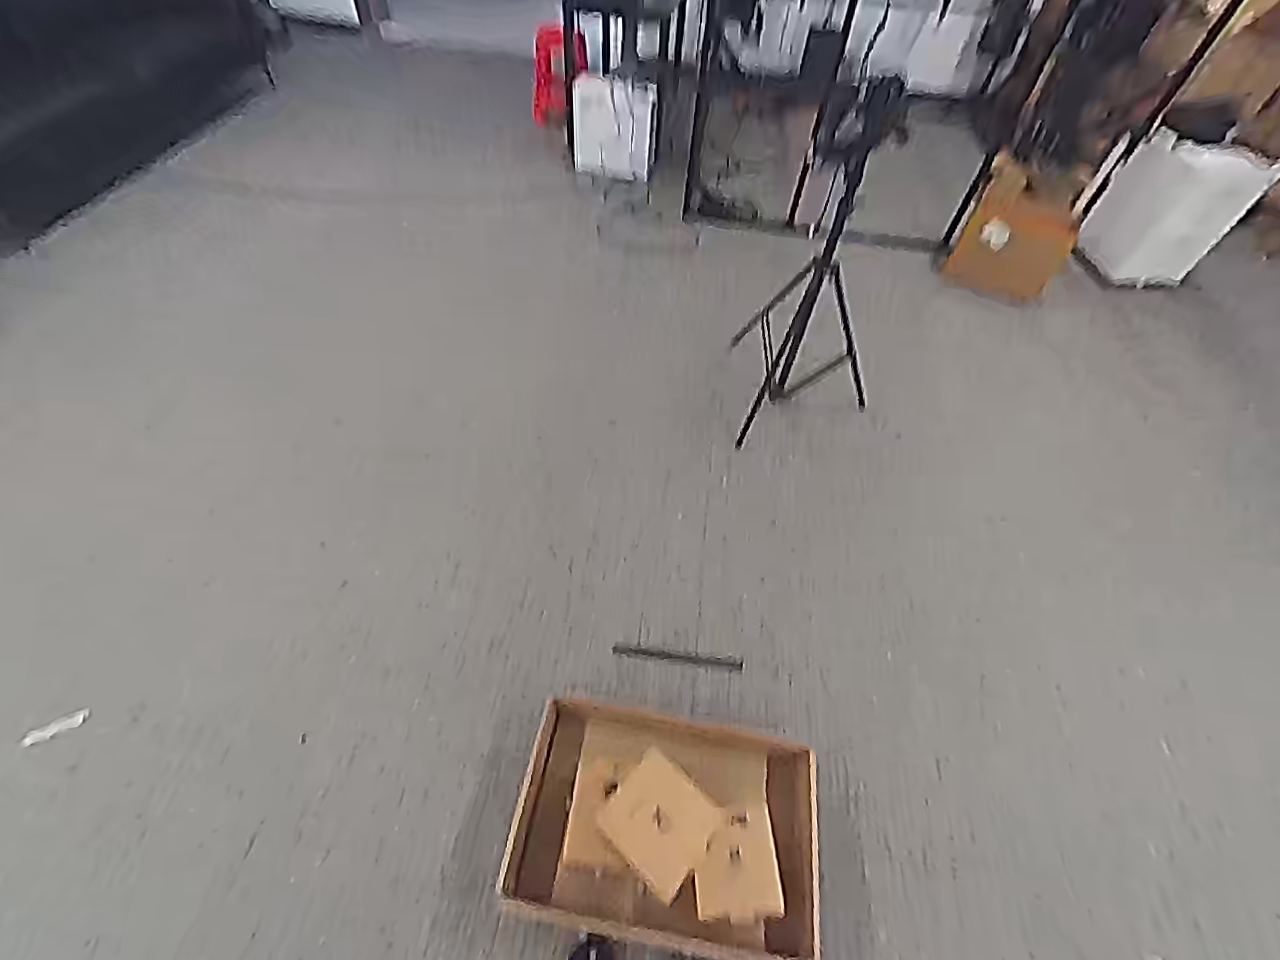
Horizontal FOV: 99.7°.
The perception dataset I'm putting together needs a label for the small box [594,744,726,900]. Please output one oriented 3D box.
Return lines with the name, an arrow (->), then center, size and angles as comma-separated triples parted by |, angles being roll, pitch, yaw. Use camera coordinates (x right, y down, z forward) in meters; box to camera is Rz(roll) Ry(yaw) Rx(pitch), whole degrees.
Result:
small box -> 0.032, 0.637, 1.008 | 0.179, 0.176, 0.168 | 36, 56, 22
